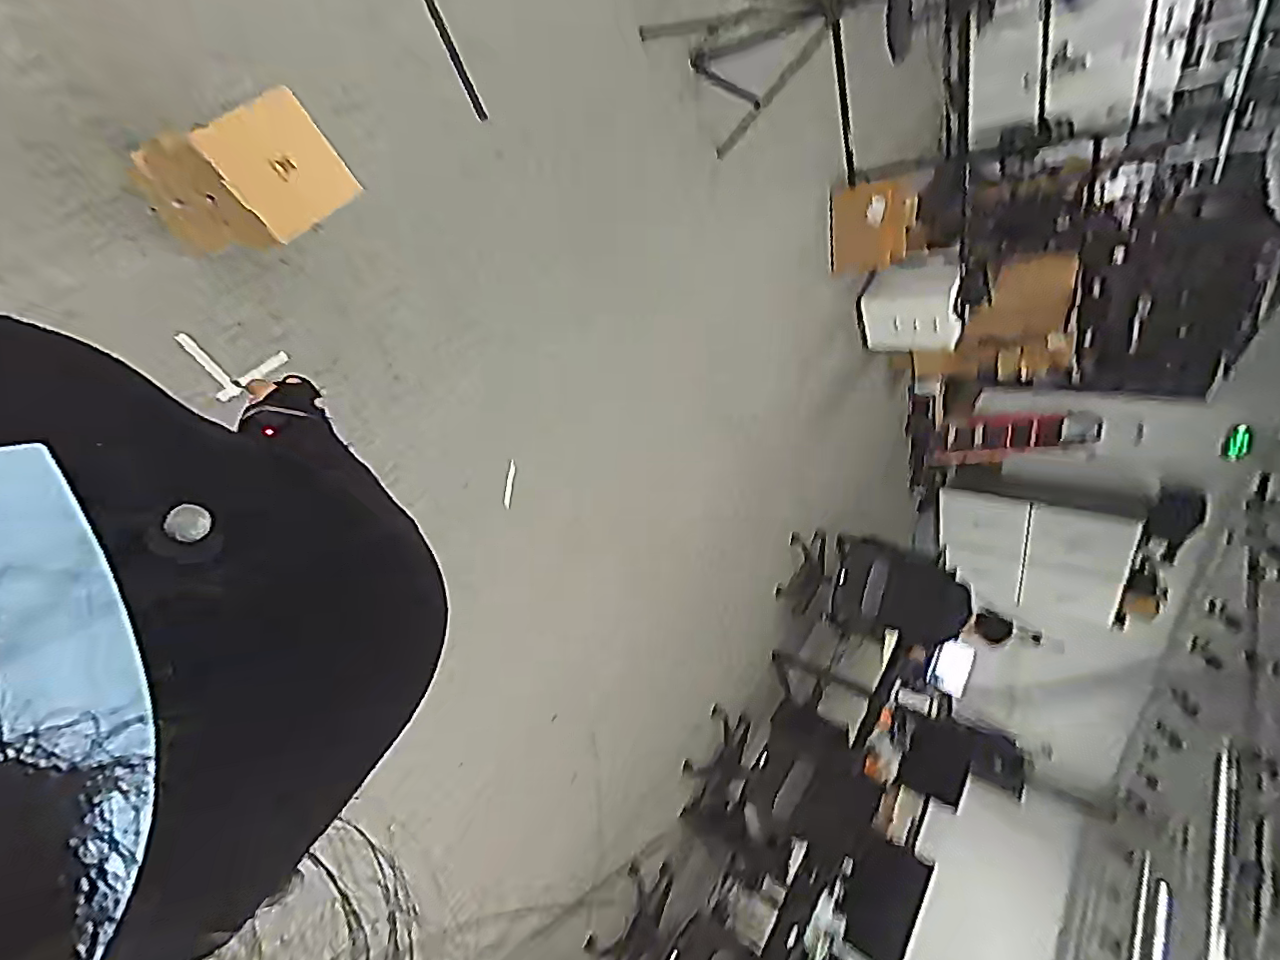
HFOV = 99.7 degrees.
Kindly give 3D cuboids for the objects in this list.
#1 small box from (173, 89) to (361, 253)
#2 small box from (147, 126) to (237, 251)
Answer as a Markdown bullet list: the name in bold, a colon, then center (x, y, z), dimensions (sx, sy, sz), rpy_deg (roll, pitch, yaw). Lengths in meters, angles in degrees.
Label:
- **small box**: center (-0.613, -0.498, 0.889), dimensions (0.179, 0.176, 0.168), rpy_deg (-54, 135, -25)
- **small box**: center (-0.740, -0.535, 0.985), dimensions (0.179, 0.176, 0.168), rpy_deg (-44, 129, -33)
